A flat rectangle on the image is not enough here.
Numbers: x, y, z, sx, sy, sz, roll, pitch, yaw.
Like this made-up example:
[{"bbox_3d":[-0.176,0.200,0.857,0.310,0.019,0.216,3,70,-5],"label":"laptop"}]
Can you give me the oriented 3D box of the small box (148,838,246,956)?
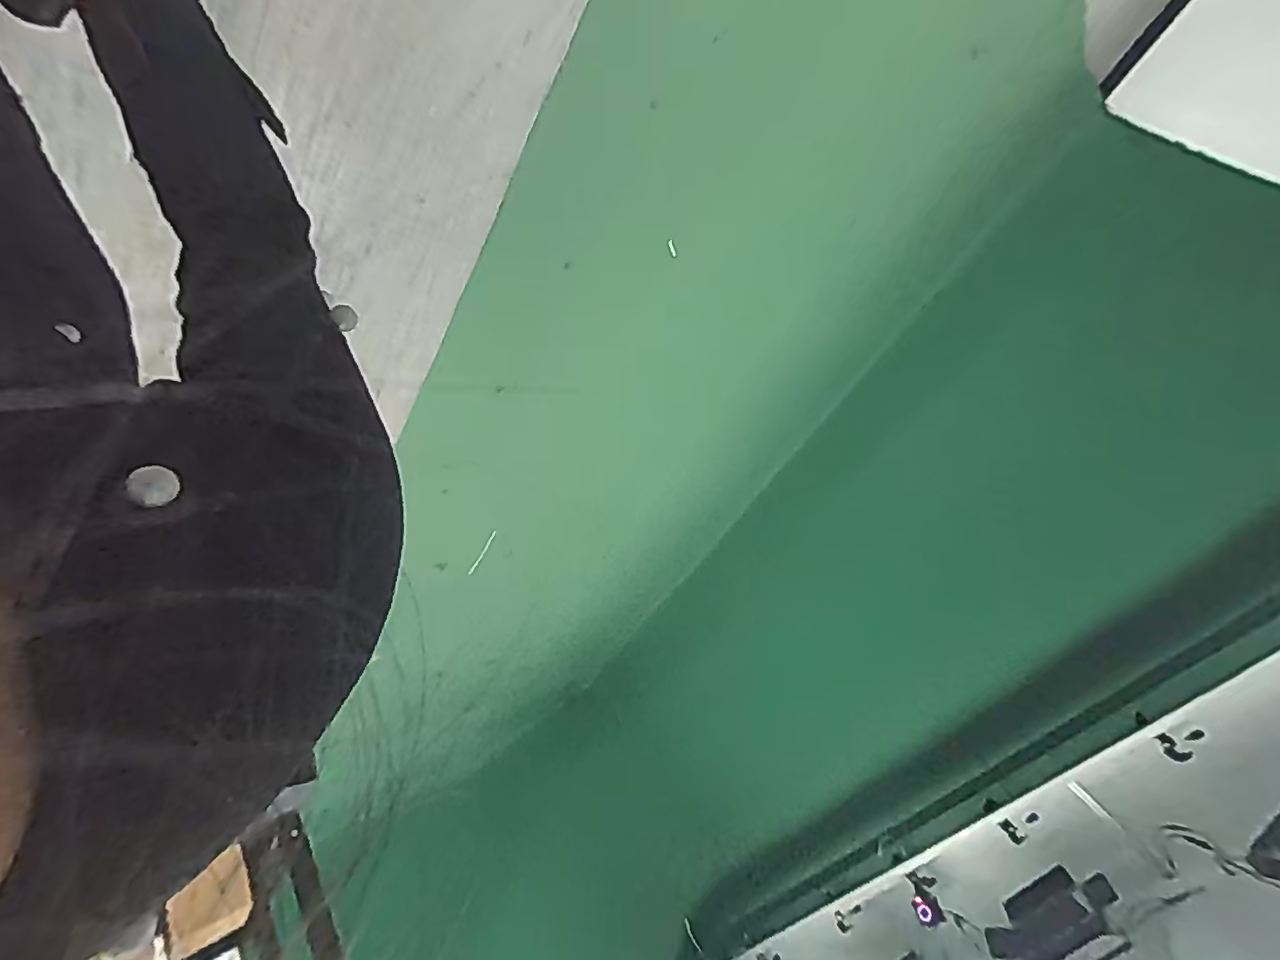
[{"bbox_3d":[-1.181,1.097,1.438,0.168,0.176,0.179,-4,138,-50],"label":"small box"}]
